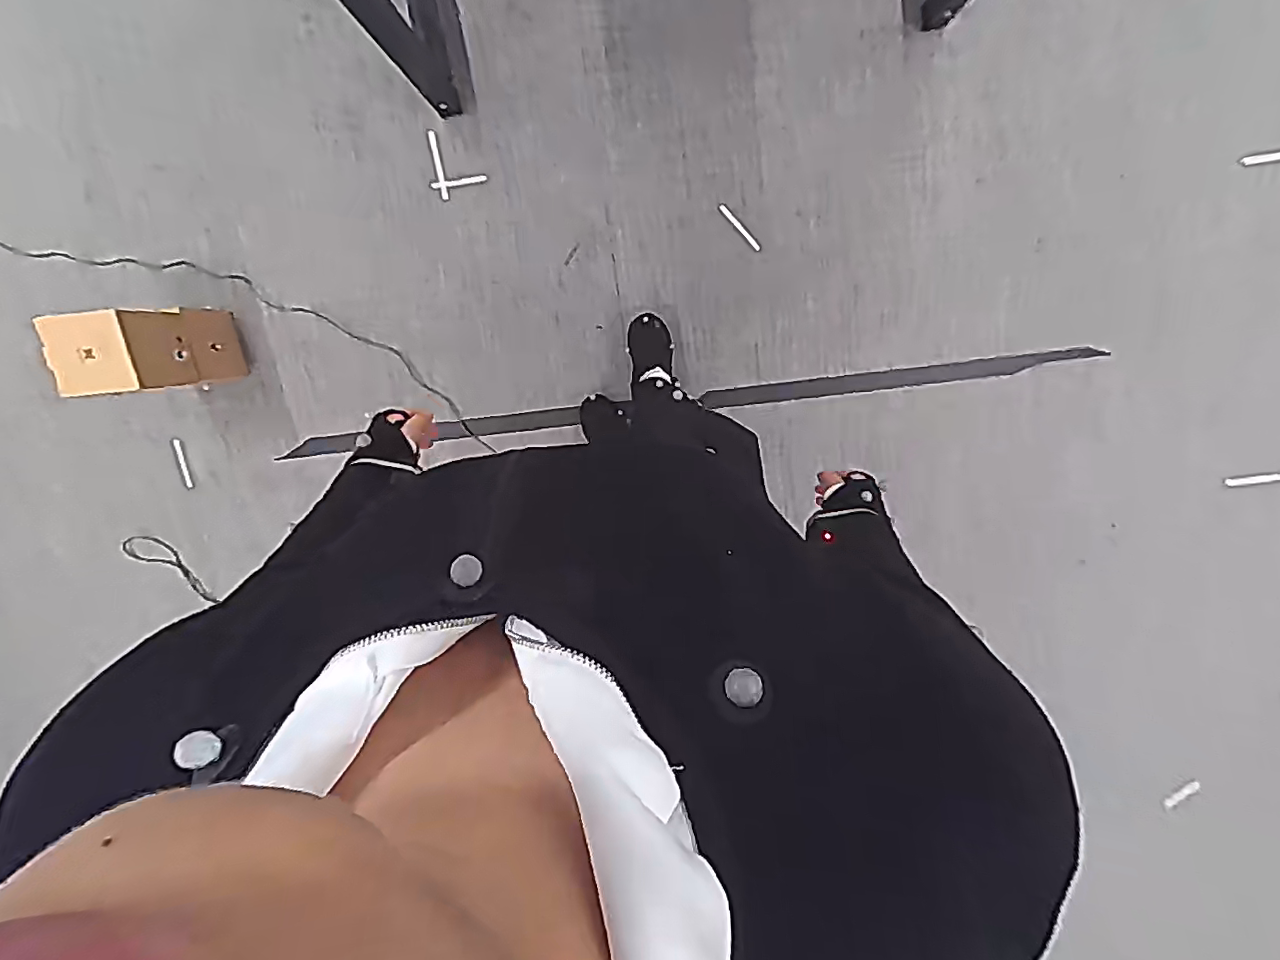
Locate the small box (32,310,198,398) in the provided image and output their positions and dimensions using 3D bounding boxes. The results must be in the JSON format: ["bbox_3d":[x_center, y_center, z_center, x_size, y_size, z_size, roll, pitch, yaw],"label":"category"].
[{"bbox_3d":[-1.139,-0.277,1.189,0.179,0.176,0.168,-6,105,1],"label":"small box"}]

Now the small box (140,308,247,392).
[{"bbox_3d":[-1.134,-0.322,1.345,0.168,0.176,0.179,-8,104,2],"label":"small box"}]
